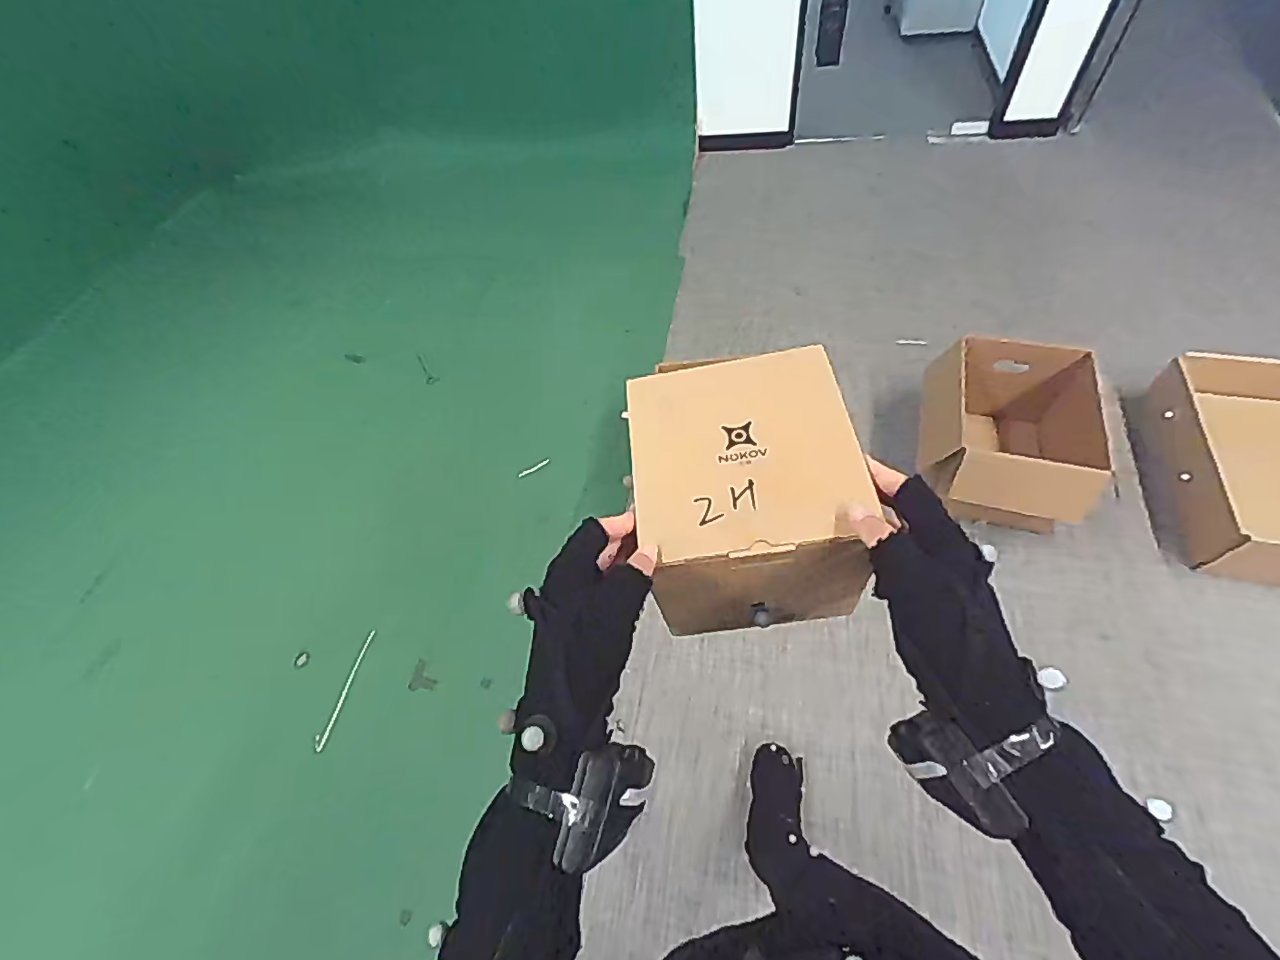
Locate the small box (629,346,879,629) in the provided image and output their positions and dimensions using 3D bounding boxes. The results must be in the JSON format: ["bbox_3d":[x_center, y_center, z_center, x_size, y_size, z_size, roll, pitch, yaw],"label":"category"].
[{"bbox_3d":[0.087,0.014,0.475,0.168,0.176,0.179,-9,57,7],"label":"small box"}]
